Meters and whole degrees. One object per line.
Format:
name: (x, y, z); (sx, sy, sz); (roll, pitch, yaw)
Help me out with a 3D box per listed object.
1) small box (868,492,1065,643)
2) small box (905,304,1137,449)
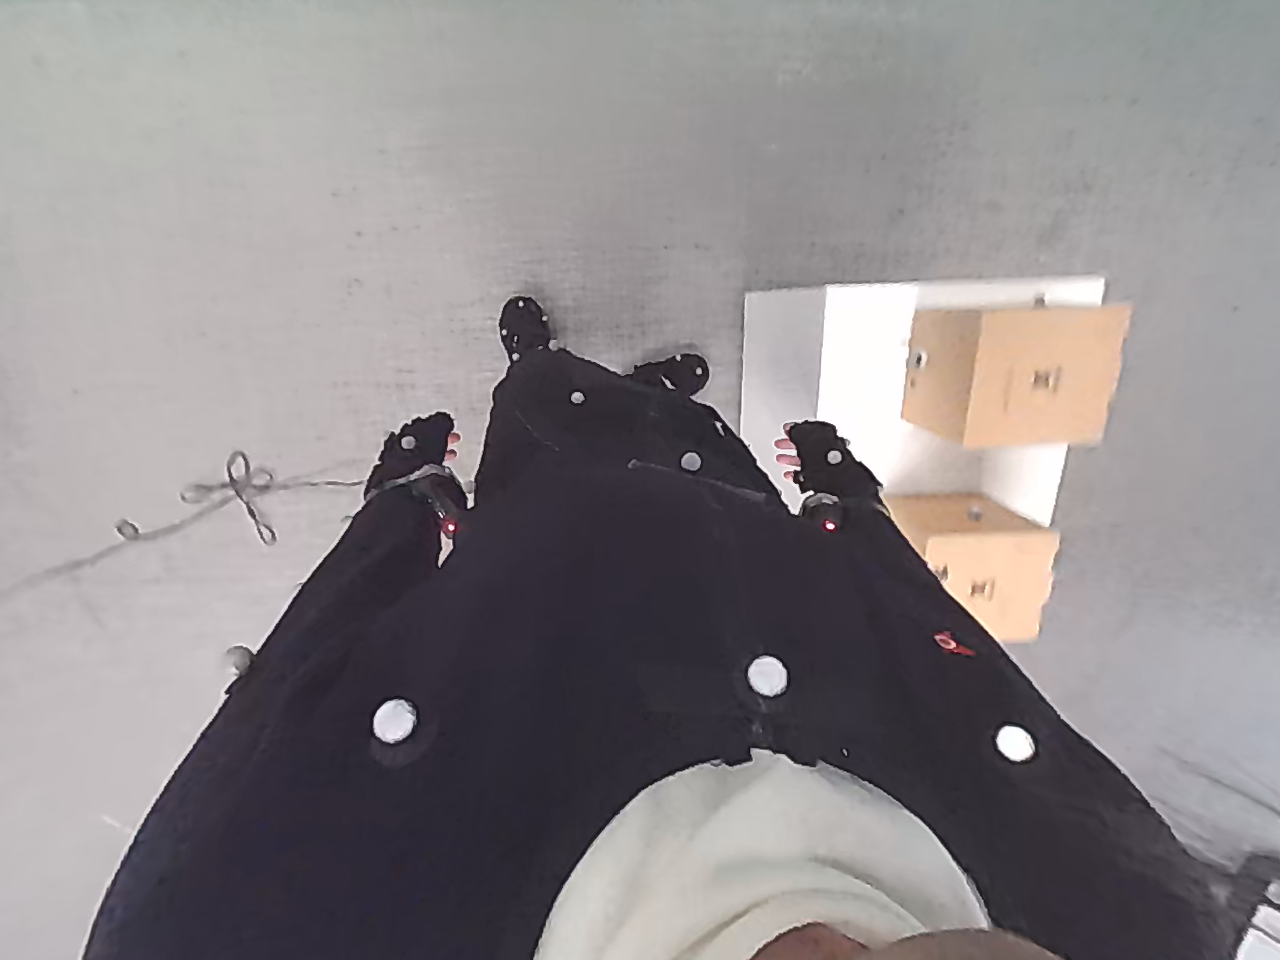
small box: (0.466, 0.121, 0.800); (0.179, 0.176, 0.168); (-2, 107, 0)
small box: (0.483, -0.144, 0.716); (0.179, 0.176, 0.168); (-2, 108, 2)
